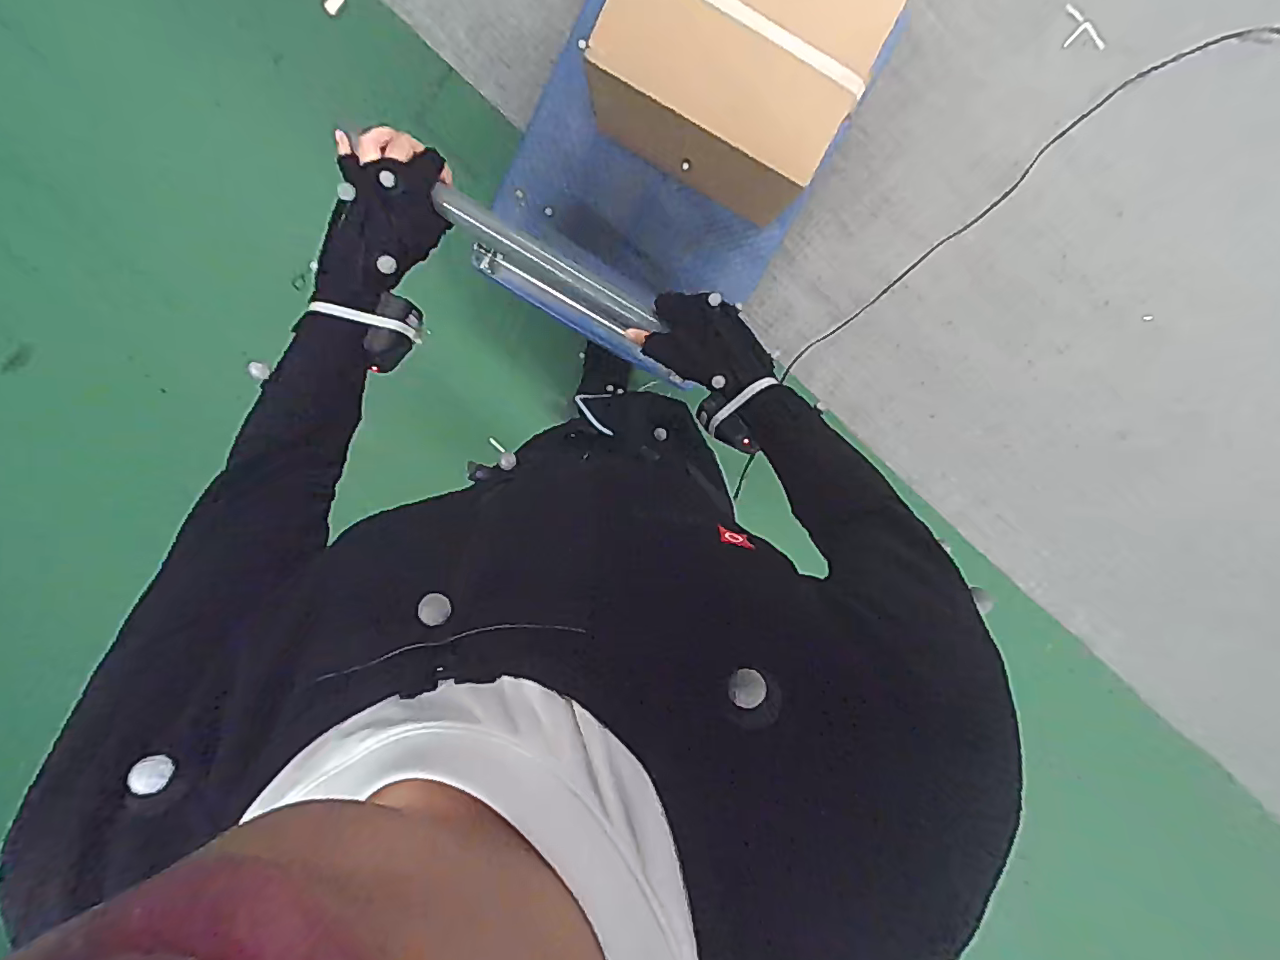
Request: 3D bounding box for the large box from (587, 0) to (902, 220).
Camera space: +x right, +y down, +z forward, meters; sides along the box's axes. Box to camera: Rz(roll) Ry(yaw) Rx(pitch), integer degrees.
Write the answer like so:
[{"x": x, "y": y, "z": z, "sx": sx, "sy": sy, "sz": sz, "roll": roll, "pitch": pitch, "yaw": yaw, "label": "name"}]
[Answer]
[{"x": 0.165, "y": -0.731, "z": 0.966, "sx": 0.408, "sy": 0.320, "sz": 0.320, "roll": 27, "pitch": 102, "yaw": -5, "label": "large box"}]
